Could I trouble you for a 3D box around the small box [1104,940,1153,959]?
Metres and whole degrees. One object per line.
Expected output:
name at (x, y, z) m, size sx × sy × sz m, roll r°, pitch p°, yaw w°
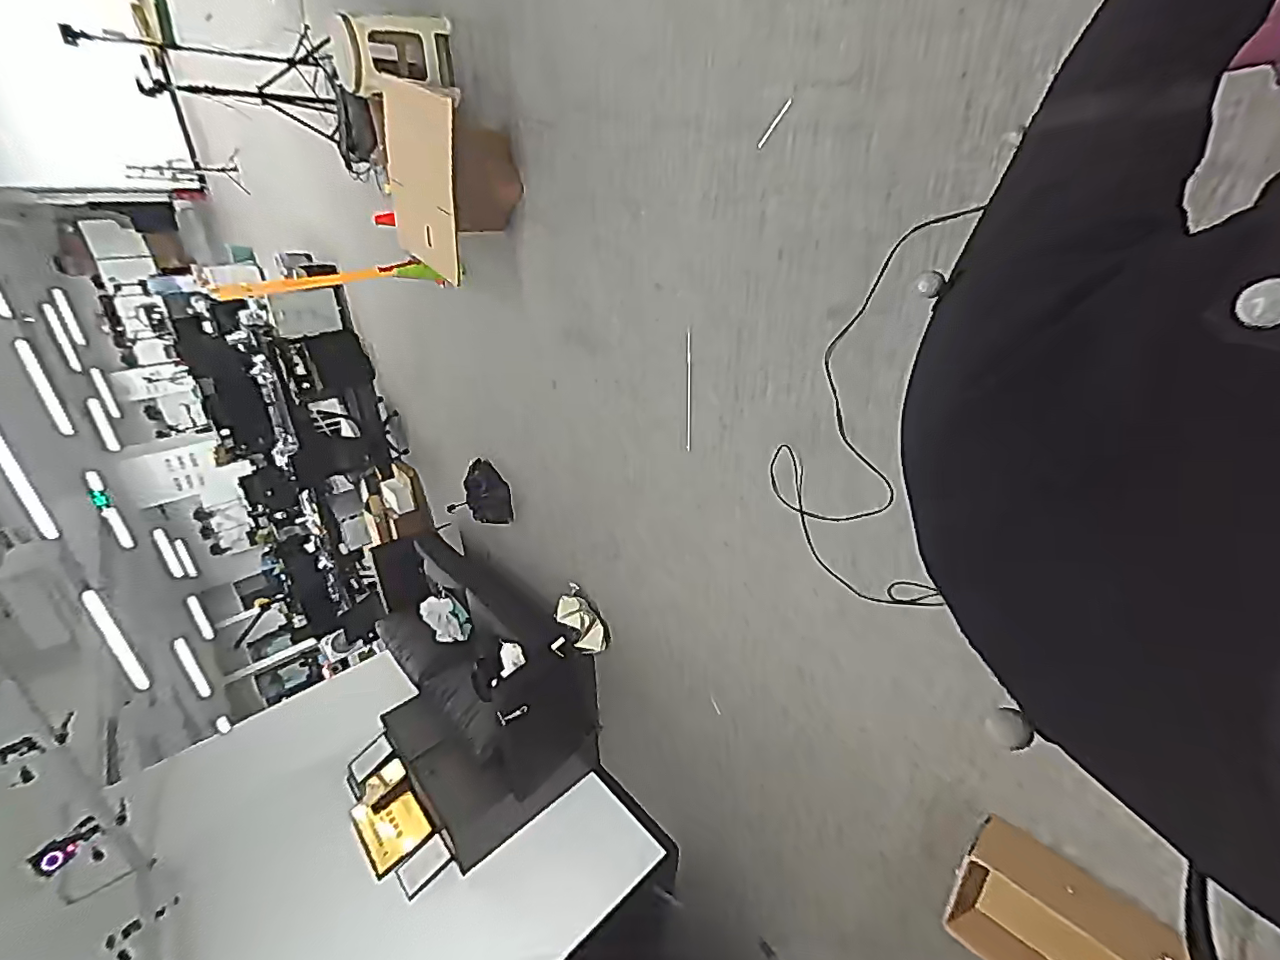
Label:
small box at (1.315, 1.381, 1.419) m, size 0.168 × 0.176 × 0.179 m, roll 25°, pitch 128°, yaw 42°
